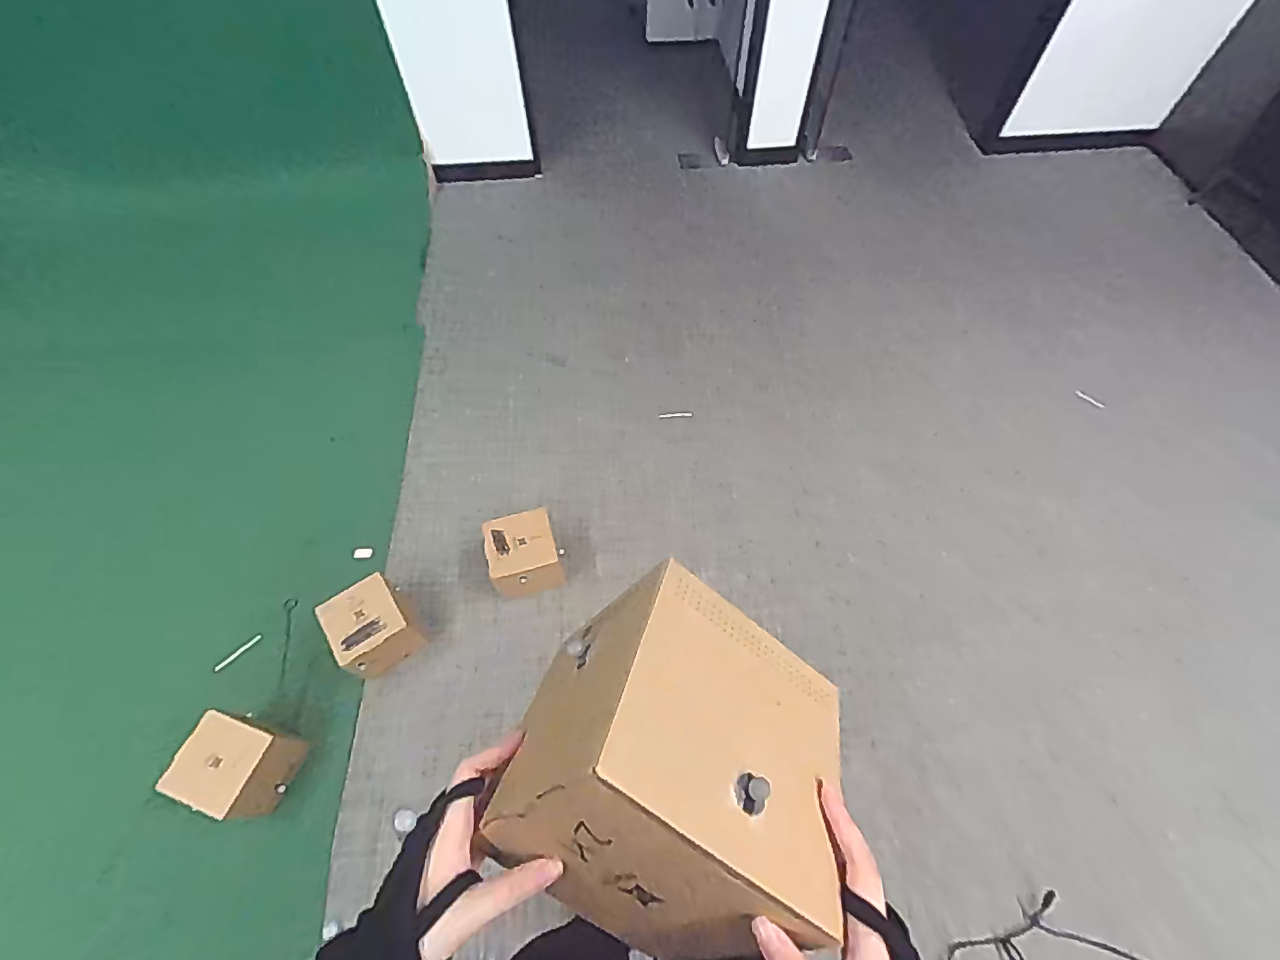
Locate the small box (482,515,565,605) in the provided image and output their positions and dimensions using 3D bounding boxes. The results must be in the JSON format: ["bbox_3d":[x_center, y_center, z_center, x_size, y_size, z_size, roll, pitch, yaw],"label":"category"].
[{"bbox_3d":[-0.312,0.221,1.464,0.179,0.176,0.168,-14,60,-9],"label":"small box"}]

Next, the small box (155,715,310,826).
[{"bbox_3d":[-0.893,0.649,1.204,0.179,0.176,0.168,17,60,10],"label":"small box"}]
